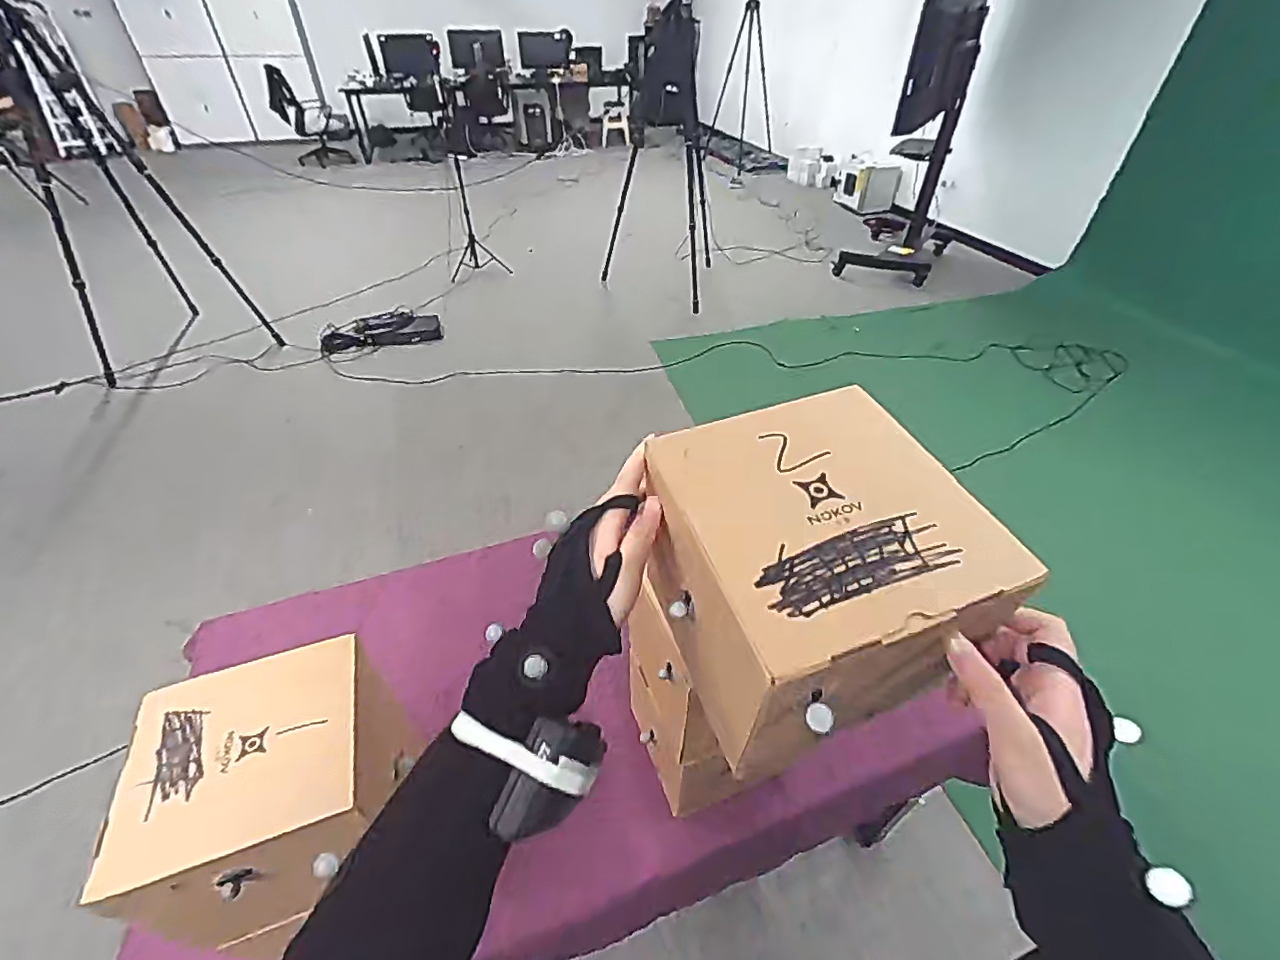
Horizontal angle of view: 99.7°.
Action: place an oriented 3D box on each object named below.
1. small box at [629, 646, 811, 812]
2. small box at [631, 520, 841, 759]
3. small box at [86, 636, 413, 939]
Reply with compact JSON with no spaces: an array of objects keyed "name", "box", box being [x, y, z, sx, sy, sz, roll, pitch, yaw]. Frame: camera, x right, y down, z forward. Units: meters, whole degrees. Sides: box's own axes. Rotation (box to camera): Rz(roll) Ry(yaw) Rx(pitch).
[{"name":"small box","box":[0.097,0.304,0.720,0.179,0.176,0.168,-15,44,-15]},{"name":"small box","box":[0.091,0.178,0.616,0.168,0.176,0.179,-13,43,-15]},{"name":"small box","box":[-0.327,0.281,0.500,0.179,0.176,0.168,-14,43,-16]}]
